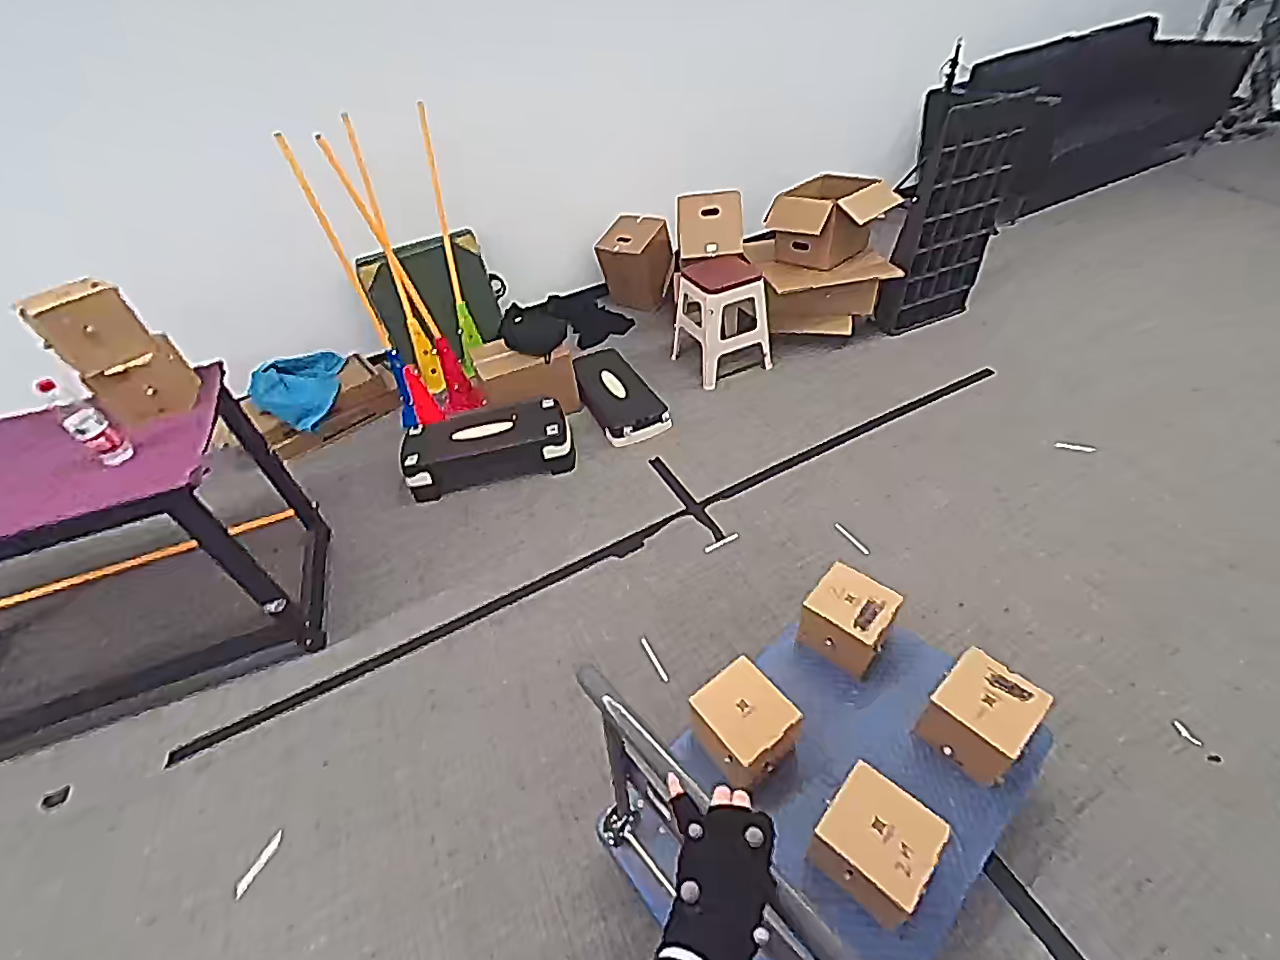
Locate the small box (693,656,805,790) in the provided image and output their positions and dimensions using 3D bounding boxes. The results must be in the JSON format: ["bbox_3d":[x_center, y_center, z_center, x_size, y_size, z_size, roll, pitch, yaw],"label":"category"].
[{"bbox_3d":[0.231,0.532,1.181,0.168,0.176,0.179,-30,49,-23],"label":"small box"}]

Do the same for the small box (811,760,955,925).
[{"bbox_3d":[0.437,0.671,0.999,0.179,0.176,0.168,31,55,34],"label":"small box"}]

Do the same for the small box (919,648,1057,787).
[{"bbox_3d":[0.722,0.499,1.140,0.179,0.176,0.168,-34,49,-24],"label":"small box"}]
